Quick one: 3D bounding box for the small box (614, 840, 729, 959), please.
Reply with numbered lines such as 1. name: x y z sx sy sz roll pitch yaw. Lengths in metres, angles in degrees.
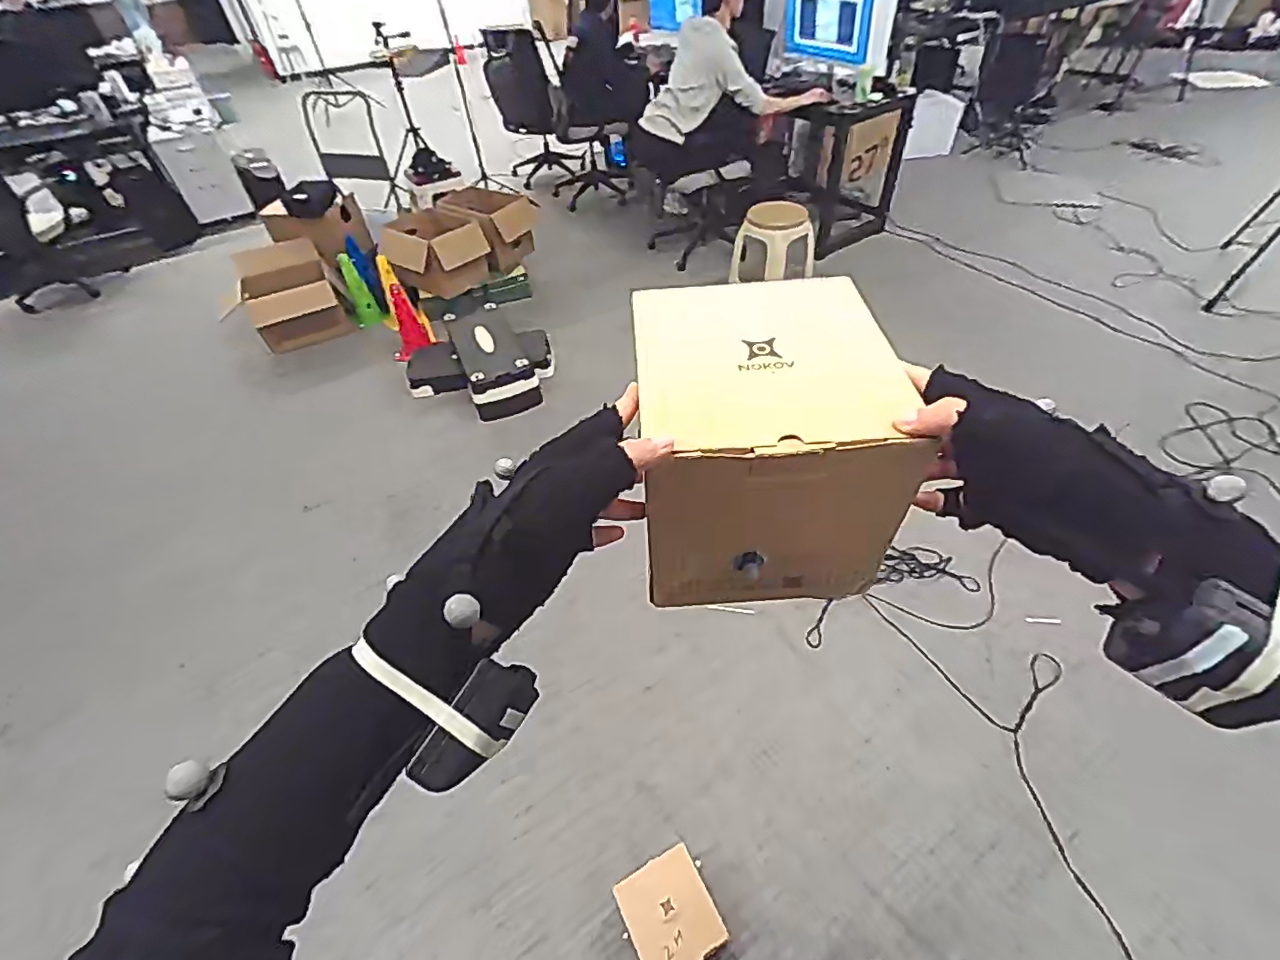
1. small box: 0.063 0.882 1.100 0.168 0.176 0.179 -24 49 -15
